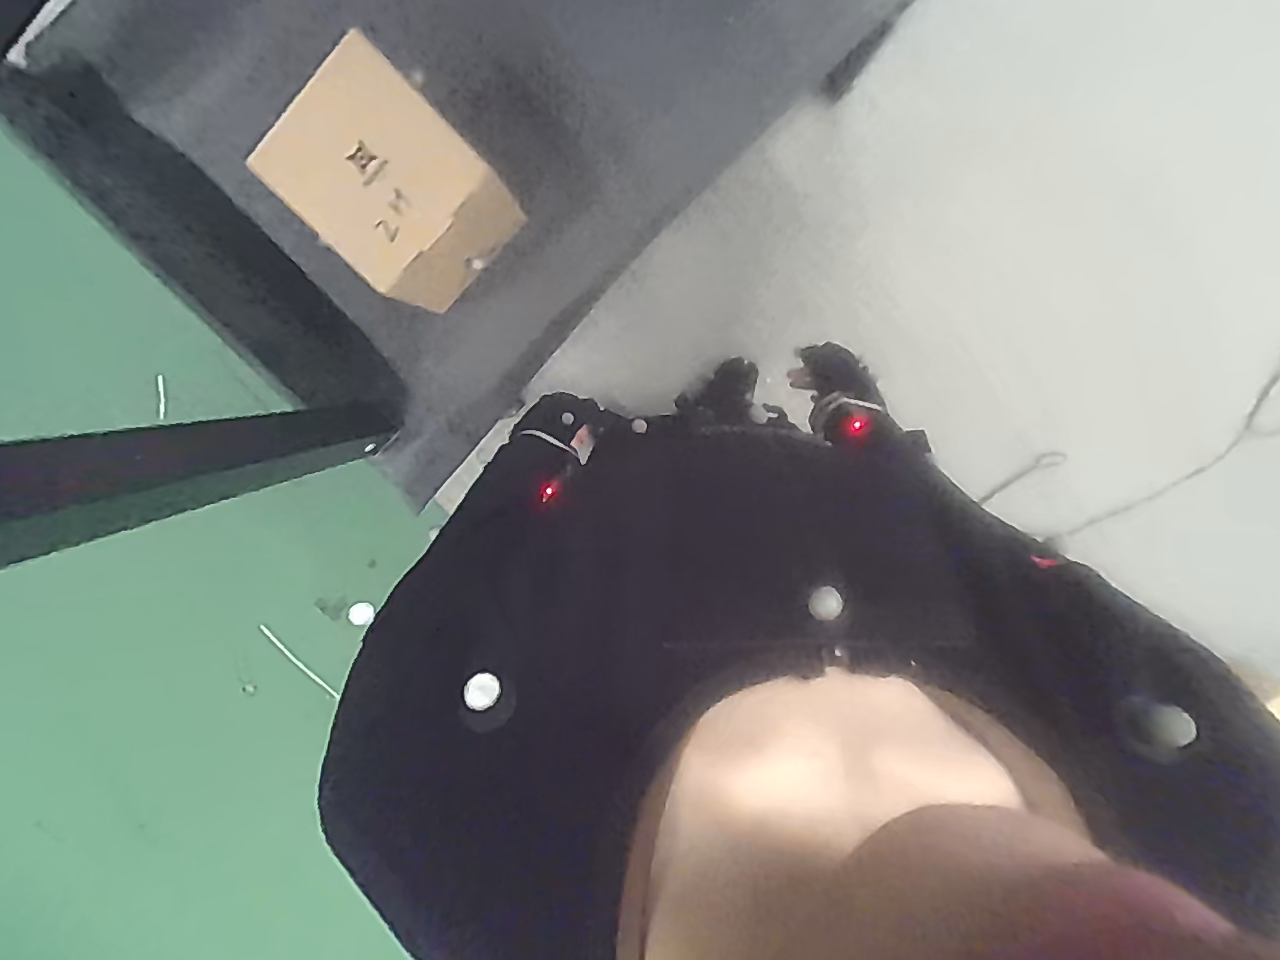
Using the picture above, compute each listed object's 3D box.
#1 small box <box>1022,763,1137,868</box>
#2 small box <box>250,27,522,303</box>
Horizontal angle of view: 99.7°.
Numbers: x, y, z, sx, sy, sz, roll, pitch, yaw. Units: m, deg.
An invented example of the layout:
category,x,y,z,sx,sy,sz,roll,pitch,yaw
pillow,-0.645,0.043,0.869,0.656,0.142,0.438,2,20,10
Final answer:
category,x,y,z,sx,sy,sz,roll,pitch,yaw
small box,1.276,0.969,1.580,0.179,0.176,0.168,-27,99,6
small box,-0.260,-0.320,0.598,0.179,0.176,0.168,44,98,-7
